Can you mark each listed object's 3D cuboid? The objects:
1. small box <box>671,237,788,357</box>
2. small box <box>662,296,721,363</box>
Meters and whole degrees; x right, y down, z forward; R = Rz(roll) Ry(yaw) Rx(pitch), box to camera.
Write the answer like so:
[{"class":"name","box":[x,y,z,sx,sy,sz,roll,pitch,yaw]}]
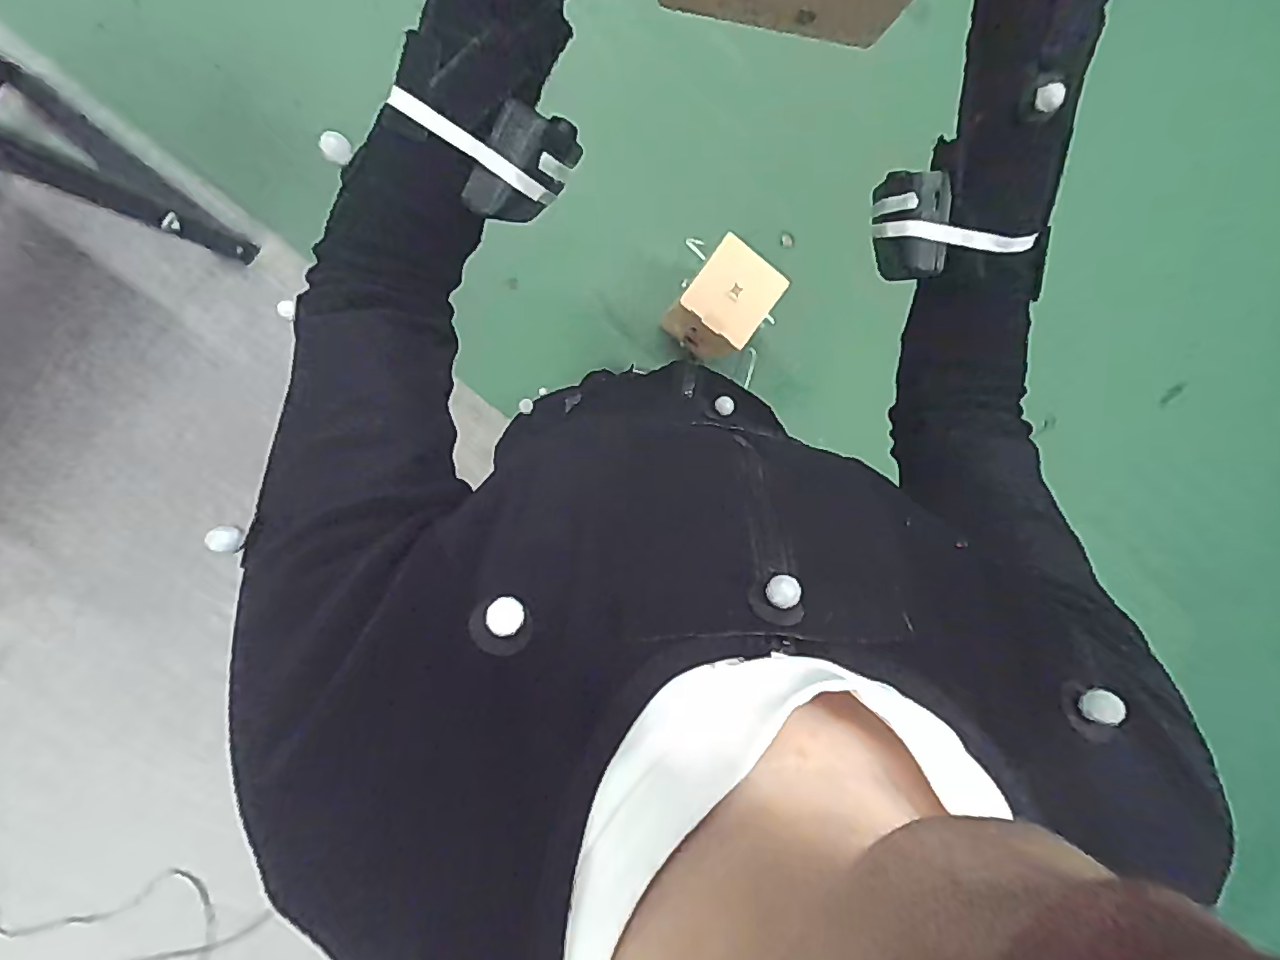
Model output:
[{"class":"small box","box":[0.186,-0.393,1.192,0.168,0.176,0.179,36,94,-10]},{"class":"small box","box":[0.172,-0.413,1.353,0.168,0.176,0.179,38,93,-9]}]
